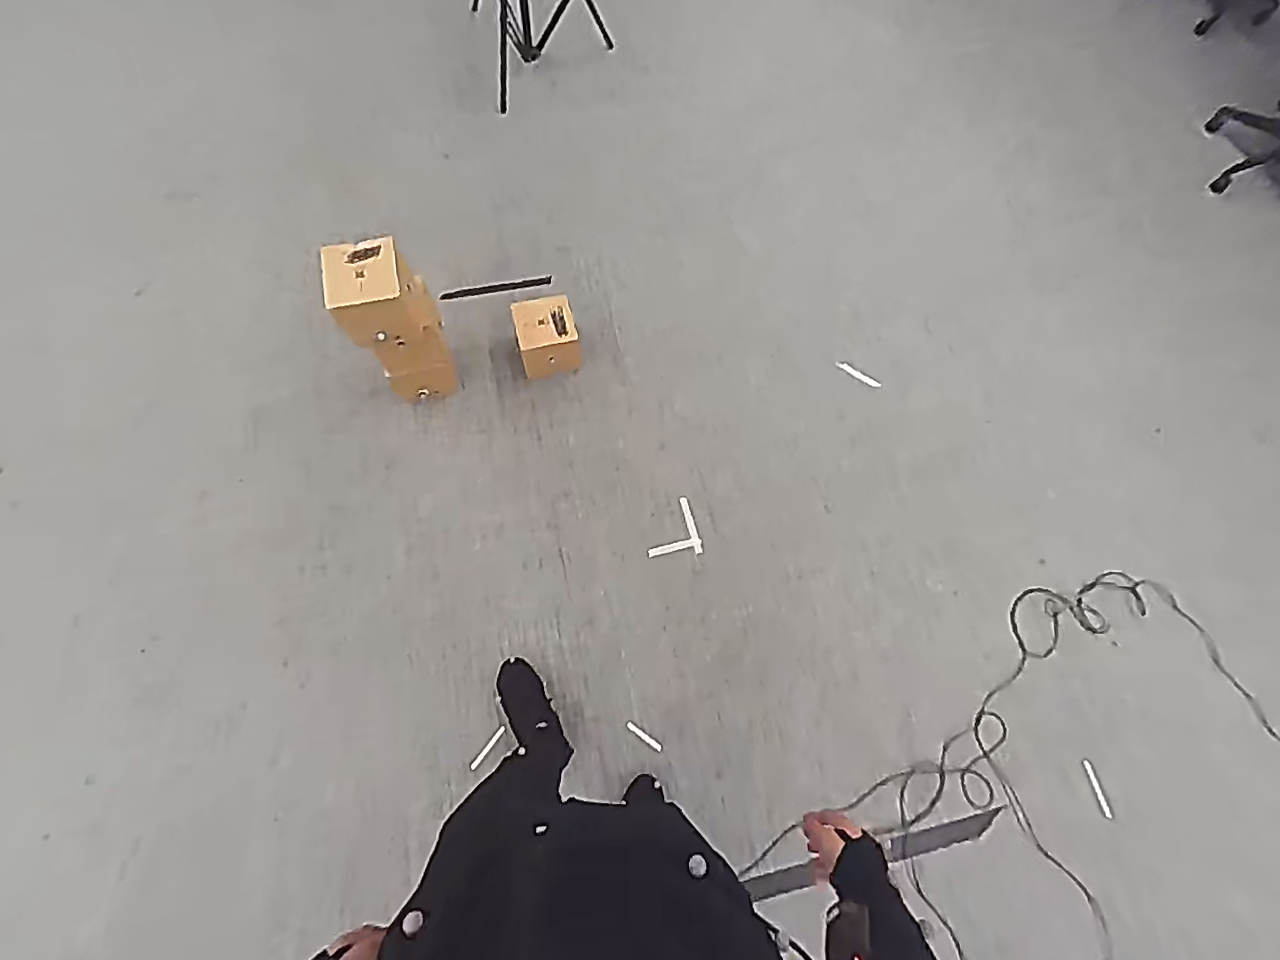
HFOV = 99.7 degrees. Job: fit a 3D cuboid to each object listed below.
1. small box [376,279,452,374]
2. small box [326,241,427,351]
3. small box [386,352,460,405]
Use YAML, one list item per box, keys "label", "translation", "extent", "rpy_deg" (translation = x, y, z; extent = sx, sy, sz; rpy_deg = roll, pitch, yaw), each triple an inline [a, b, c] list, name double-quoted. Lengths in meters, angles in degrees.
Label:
- label: "small box"
  translation: [-0.633, -0.412, 1.471]
  extent: [0.179, 0.176, 0.168]
  rpy_deg: [-16, 73, -9]
- label: "small box"
  translation: [-0.632, -0.441, 1.307]
  extent: [0.168, 0.176, 0.179]
  rpy_deg: [-12, 73, -7]
- label: "small box"
  translation: [-0.655, -0.352, 1.622]
  extent: [0.168, 0.176, 0.179]
  rpy_deg: [-15, 73, -8]
